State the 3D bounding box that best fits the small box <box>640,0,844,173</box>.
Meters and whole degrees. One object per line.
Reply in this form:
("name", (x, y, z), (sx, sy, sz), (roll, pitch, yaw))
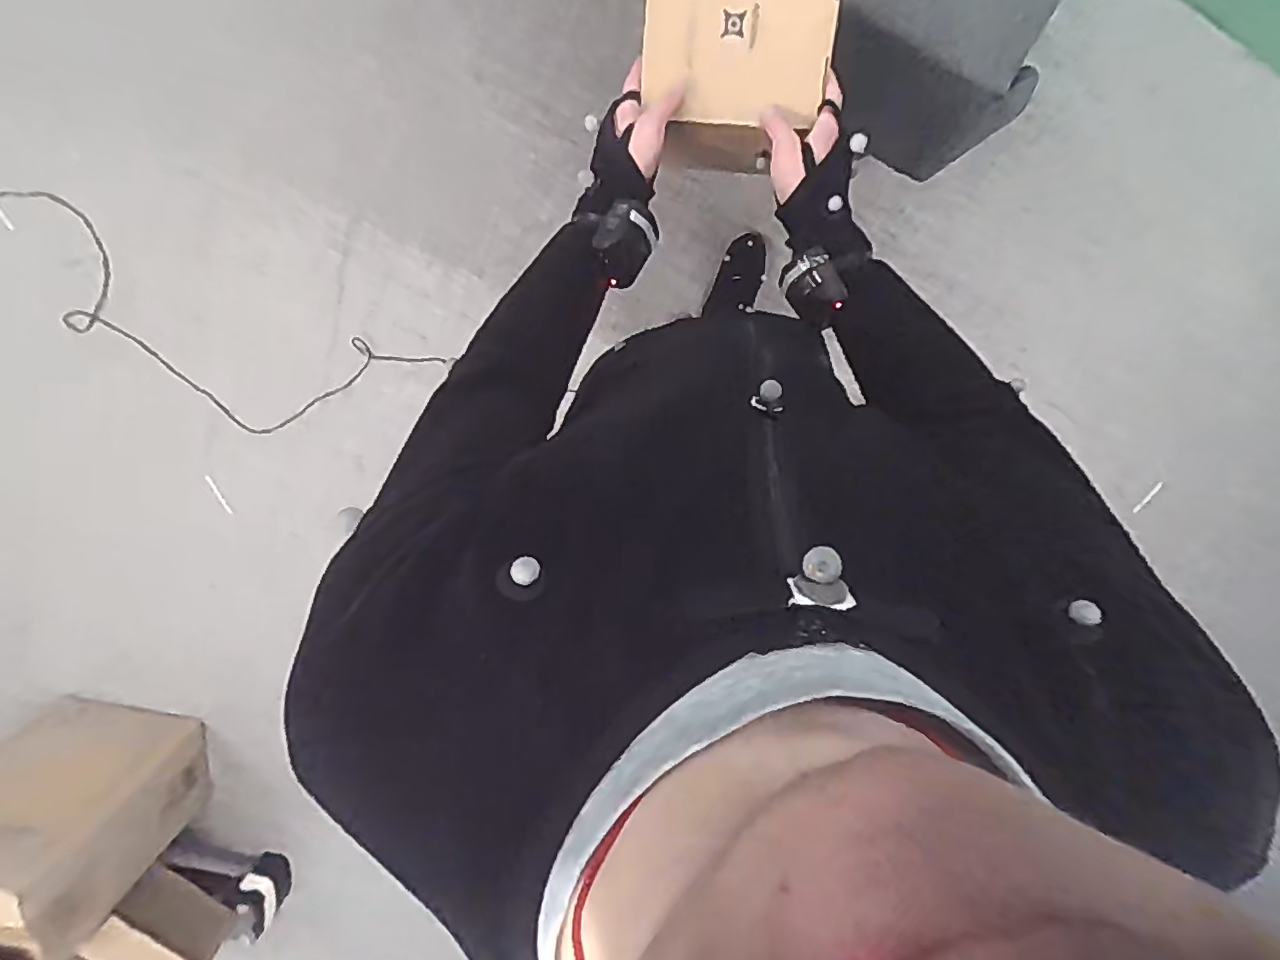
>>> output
("small box", (0.098, -0.435, 0.560), (0.179, 0.176, 0.168), (5, 104, 4))
